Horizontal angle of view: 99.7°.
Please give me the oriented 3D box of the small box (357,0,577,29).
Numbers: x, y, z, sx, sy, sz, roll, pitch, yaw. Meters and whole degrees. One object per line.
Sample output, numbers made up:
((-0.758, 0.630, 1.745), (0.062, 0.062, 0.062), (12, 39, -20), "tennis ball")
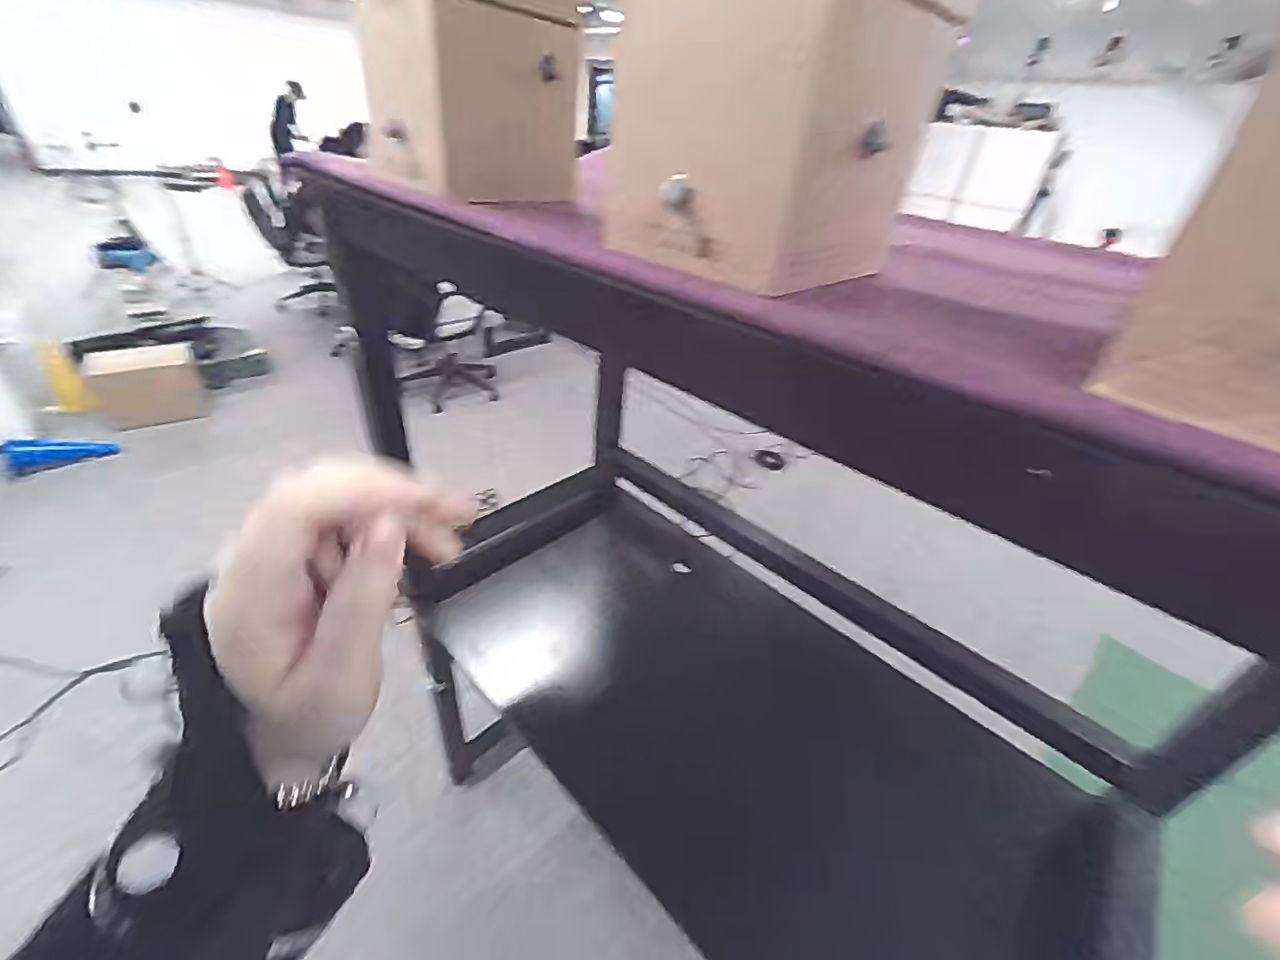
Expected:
((-0.165, -0.536, 0.507), (0.179, 0.176, 0.168), (-25, 44, -37), "small box")

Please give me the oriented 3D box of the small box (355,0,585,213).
((-0.182, -0.403, 0.600), (0.168, 0.176, 0.179), (32, 41, 33), "small box")

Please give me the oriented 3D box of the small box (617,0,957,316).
((0.096, -0.240, 0.410), (0.179, 0.176, 0.168), (-27, 46, -37), "small box")

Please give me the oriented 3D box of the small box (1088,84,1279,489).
((0.340, -0.089, 0.230), (0.179, 0.176, 0.168), (-26, 45, -36), "small box")
